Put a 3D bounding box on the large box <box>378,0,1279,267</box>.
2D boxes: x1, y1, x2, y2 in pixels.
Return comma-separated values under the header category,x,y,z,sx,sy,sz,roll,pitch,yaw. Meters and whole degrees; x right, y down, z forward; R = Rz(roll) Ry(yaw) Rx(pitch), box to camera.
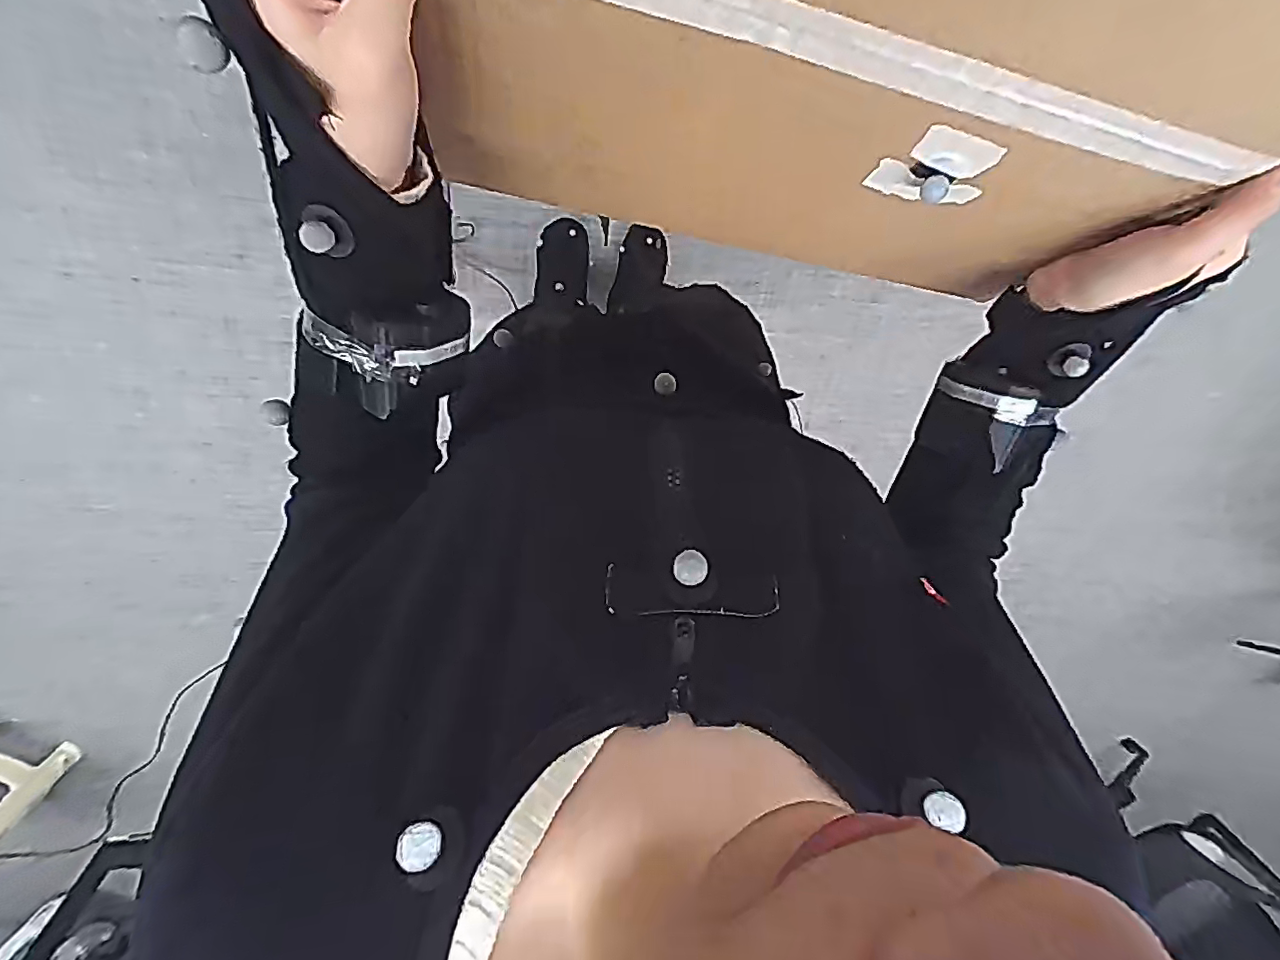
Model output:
category,x,y,z,sx,sy,sz,roll,pitch,yaw
large box,0.113,-0.326,0.201,0.408,0.320,0.320,6,86,-12
